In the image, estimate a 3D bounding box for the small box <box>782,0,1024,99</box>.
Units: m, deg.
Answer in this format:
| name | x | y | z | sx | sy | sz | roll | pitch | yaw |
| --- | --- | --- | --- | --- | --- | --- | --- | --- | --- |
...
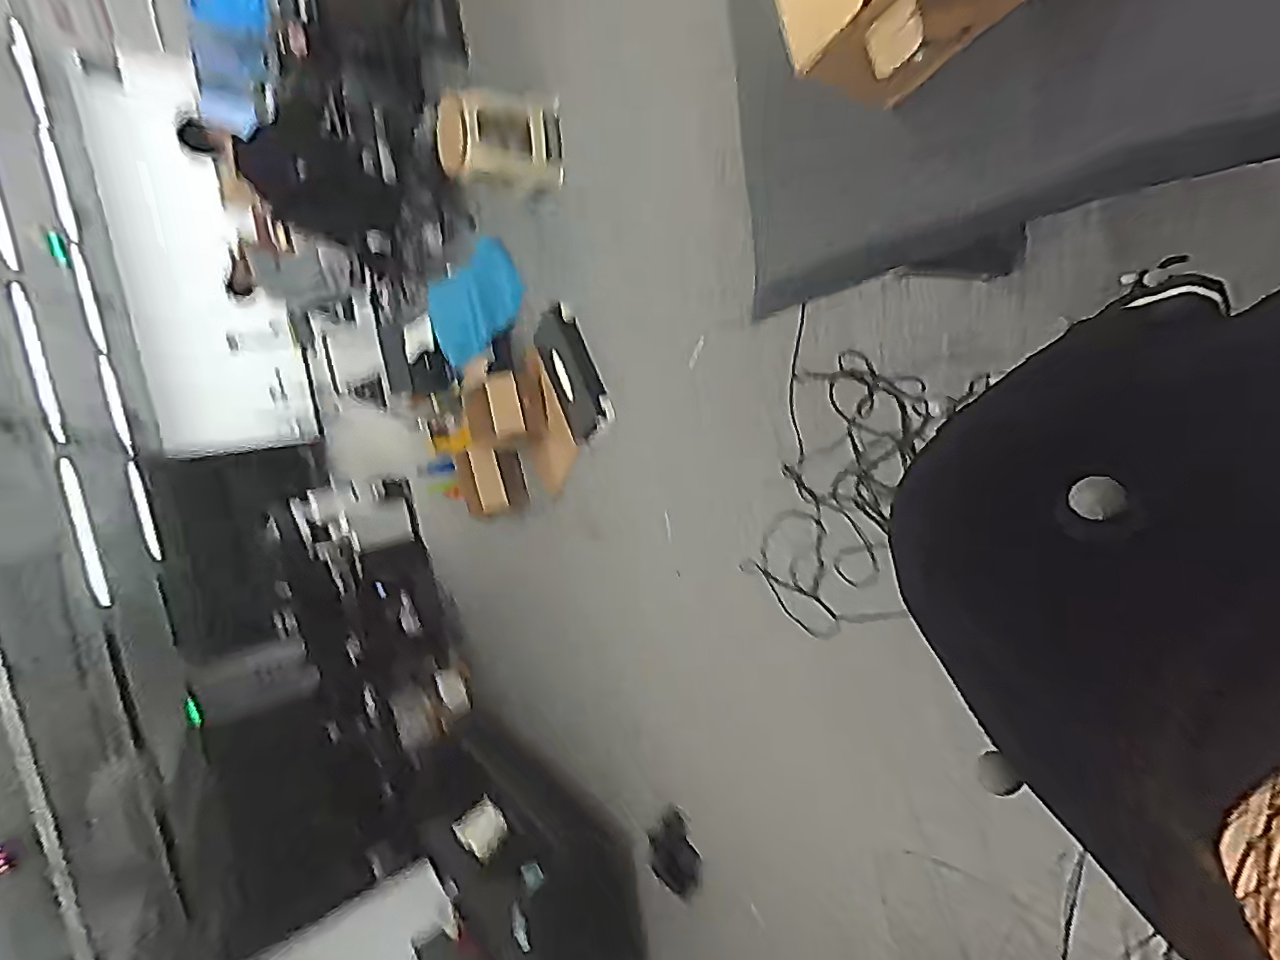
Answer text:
| name | x | y | z | sx | sy | sz | roll | pitch | yaw |
| --- | --- | --- | --- | --- | --- | --- | --- | --- | --- |
| small box | 0.250 | -0.519 | 0.524 | 0.168 | 0.176 | 0.179 | -19 | 86 | 54 |
